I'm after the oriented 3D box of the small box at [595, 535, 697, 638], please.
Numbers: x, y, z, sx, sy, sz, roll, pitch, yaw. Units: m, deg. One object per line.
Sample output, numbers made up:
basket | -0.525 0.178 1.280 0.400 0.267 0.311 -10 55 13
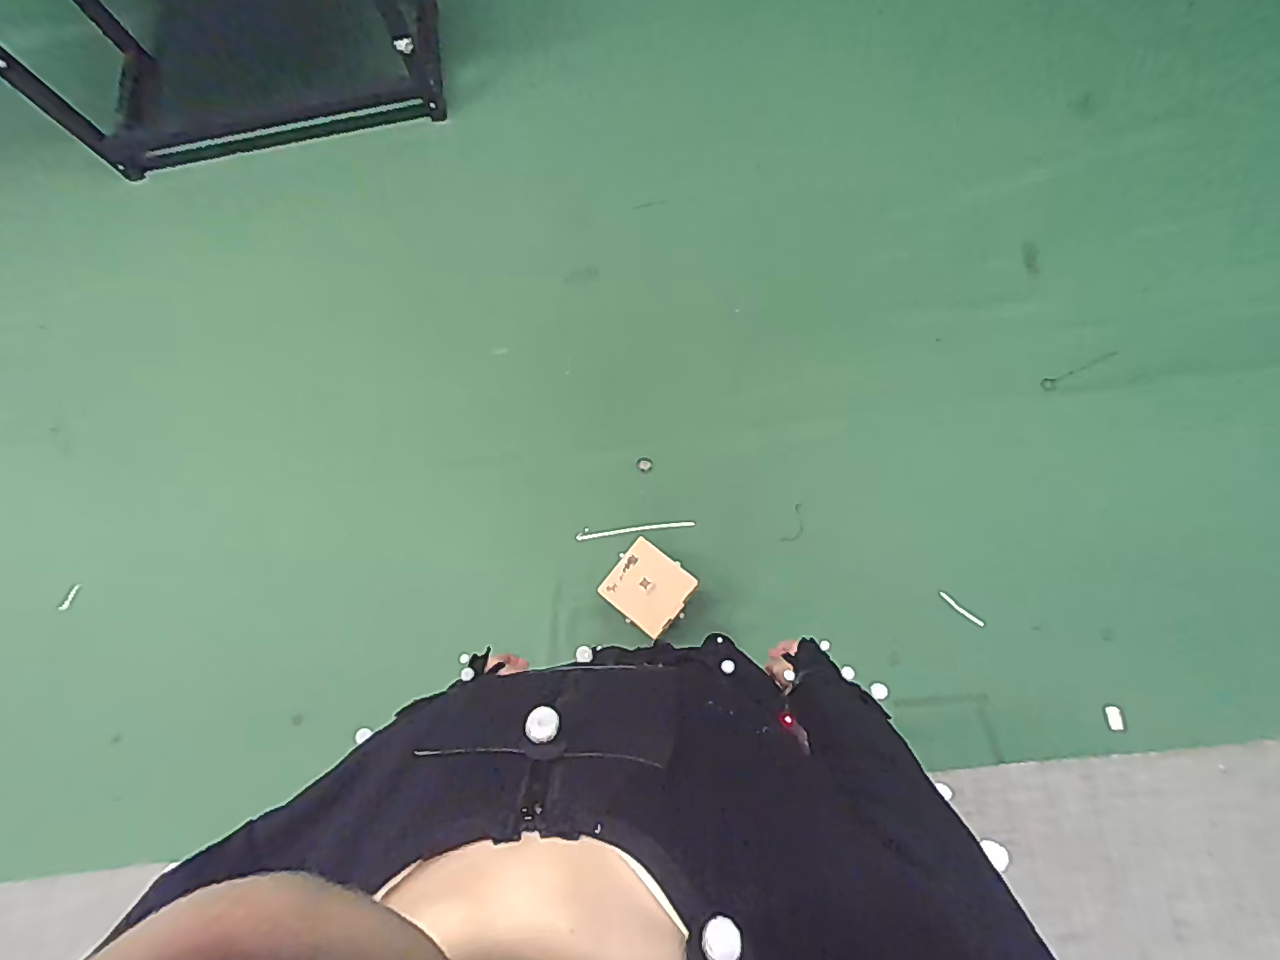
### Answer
small box | 0.019 0.258 1.304 0.179 0.176 0.168 37 80 13
